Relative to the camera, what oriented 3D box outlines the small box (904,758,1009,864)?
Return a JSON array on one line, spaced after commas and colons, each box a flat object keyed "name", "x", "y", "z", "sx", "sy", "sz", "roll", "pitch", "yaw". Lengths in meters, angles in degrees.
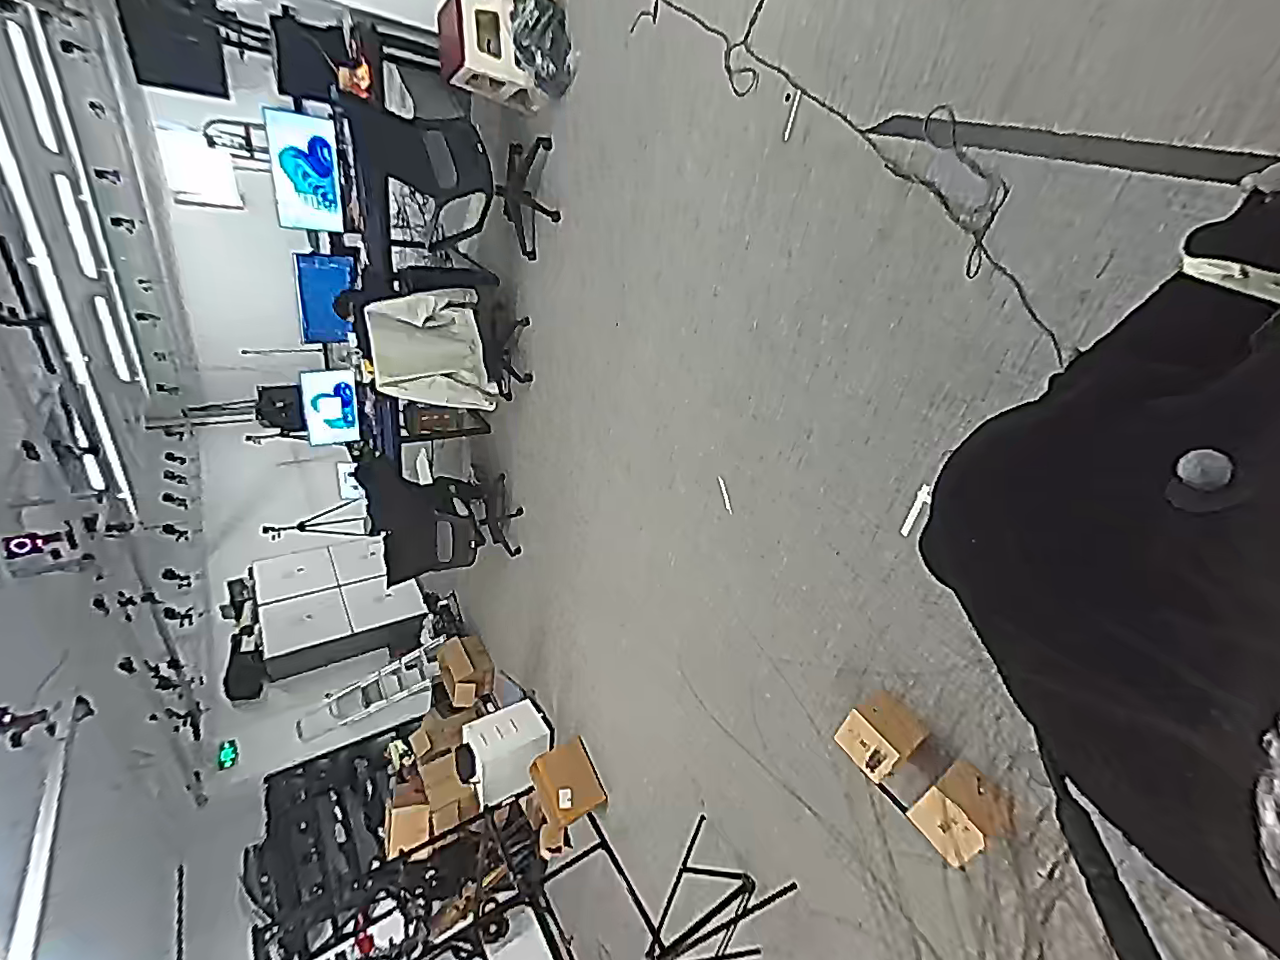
[{"name": "small box", "x": 0.904, "y": 0.938, "z": 1.542, "sx": 0.168, "sy": 0.176, "sz": 0.179, "roll": 45, "pitch": 133, "yaw": 38}]
